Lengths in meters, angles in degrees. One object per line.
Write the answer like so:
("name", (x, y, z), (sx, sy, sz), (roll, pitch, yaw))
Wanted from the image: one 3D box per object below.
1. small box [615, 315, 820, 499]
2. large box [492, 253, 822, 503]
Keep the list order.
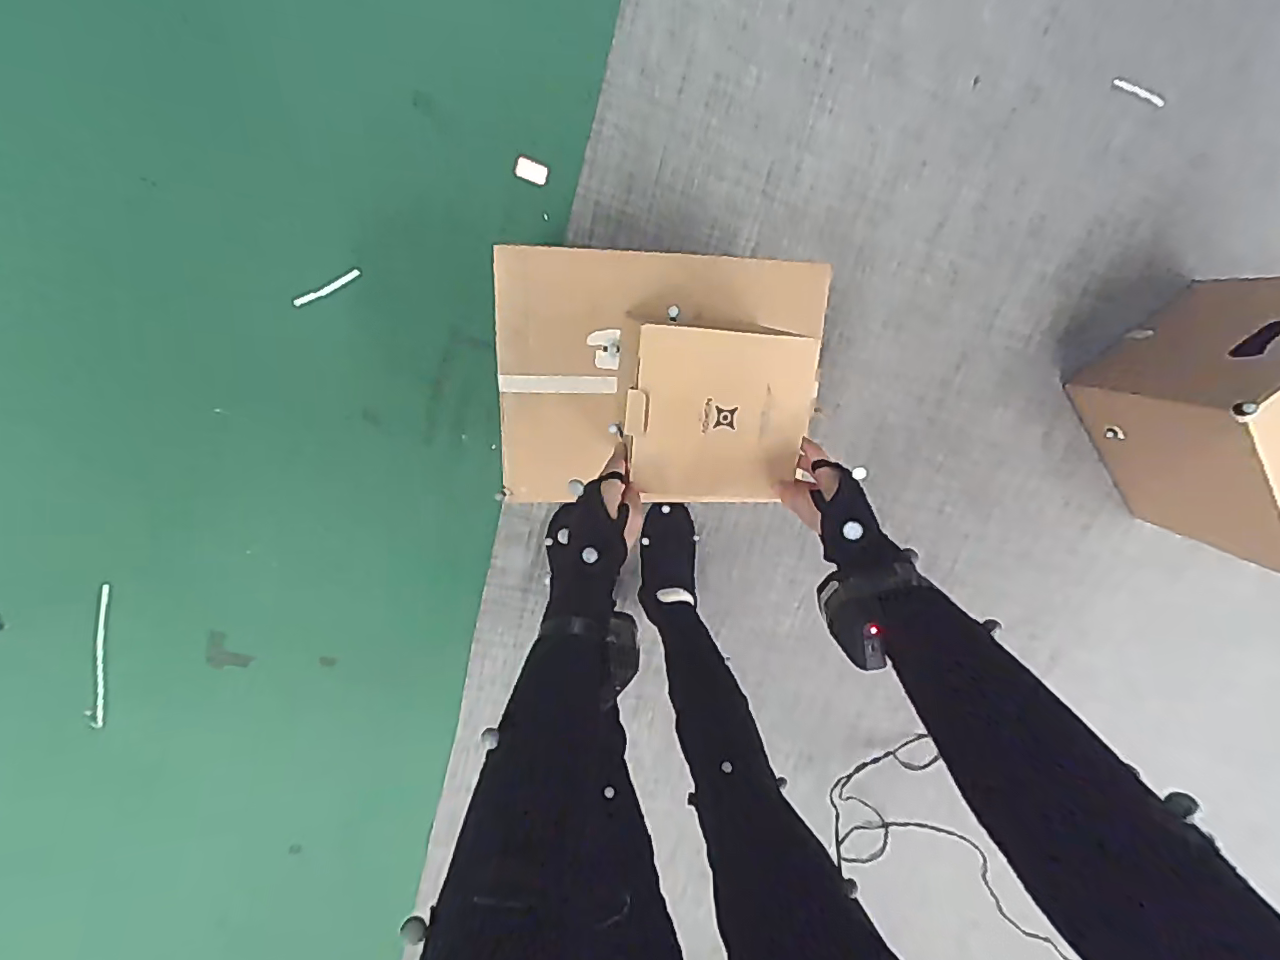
("small box", (0.067, -0.088, 0.596), (0.179, 0.176, 0.168), (3, 109, -8))
("large box", (0.012, -0.164, 0.824), (0.408, 0.320, 0.320), (0, 107, -6))
